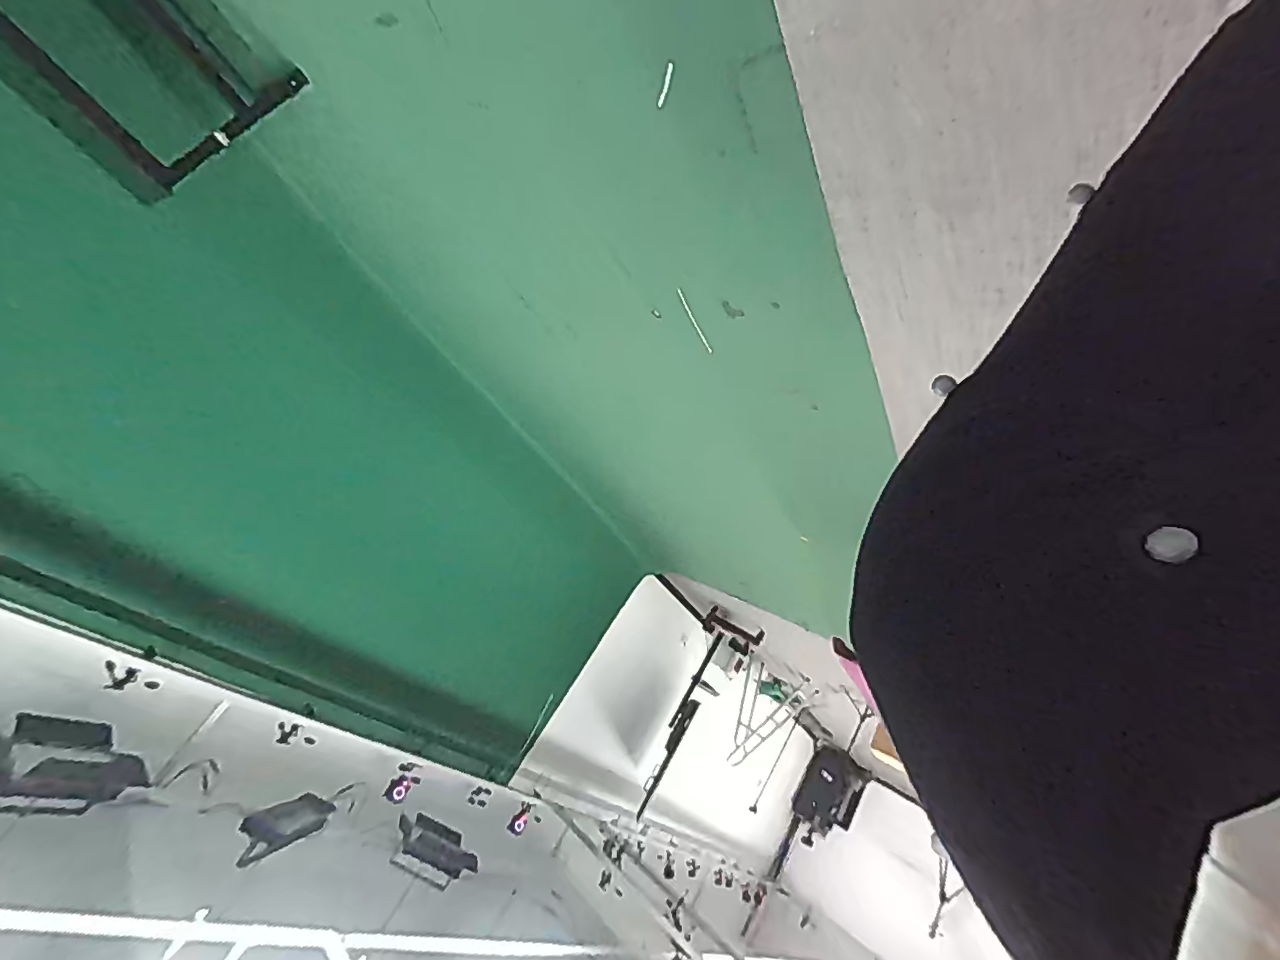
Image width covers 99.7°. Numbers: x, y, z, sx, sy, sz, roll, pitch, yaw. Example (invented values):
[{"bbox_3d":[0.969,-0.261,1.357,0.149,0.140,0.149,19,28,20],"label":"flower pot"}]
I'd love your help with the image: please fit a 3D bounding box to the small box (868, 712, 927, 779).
[{"bbox_3d":[1.060,1.084,2.216,0.168,0.176,0.179,12,150,43],"label":"small box"}]
